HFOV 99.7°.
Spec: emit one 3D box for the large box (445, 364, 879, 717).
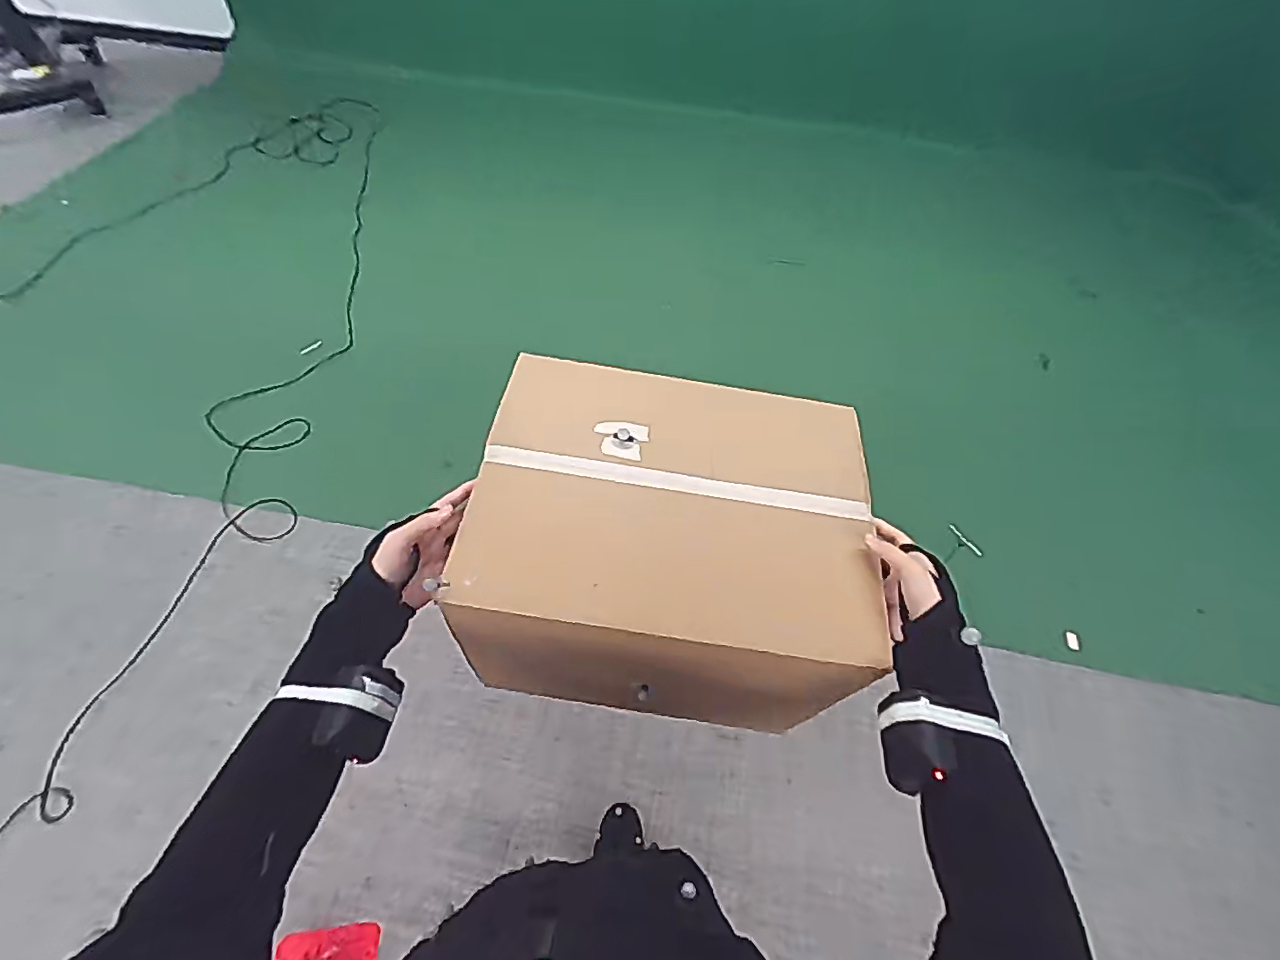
[{"bbox_3d":[0.026,0.094,0.689,0.408,0.320,0.320,9,55,0],"label":"large box"}]
